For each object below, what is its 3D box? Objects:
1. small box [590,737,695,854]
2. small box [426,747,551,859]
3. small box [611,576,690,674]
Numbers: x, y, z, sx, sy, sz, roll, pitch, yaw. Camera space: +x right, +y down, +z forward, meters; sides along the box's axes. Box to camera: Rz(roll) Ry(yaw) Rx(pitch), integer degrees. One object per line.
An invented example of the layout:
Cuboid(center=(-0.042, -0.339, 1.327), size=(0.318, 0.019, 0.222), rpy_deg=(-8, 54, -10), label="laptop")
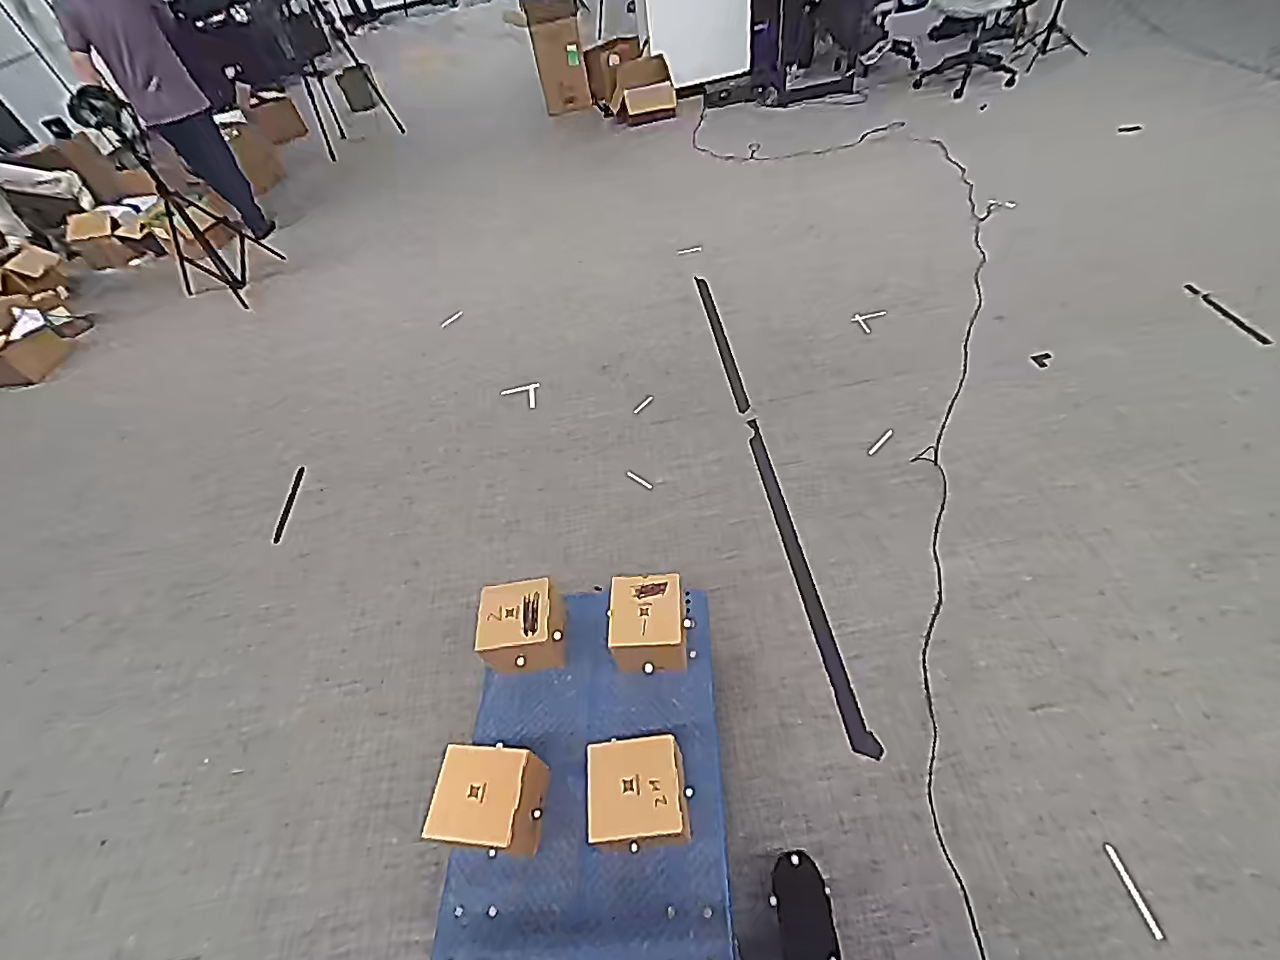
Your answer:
Cuboid(center=(0.006, 0.630, 1.073), size=(0.179, 0.176, 0.168), rpy_deg=(-9, 50, 4), label="small box")
Cuboid(center=(-0.299, 0.665, 1.109), size=(0.179, 0.176, 0.168), rpy_deg=(0, 50, 9), label="small box")
Cuboid(center=(0.030, 0.352, 1.302), size=(0.168, 0.176, 0.179), rpy_deg=(-5, 51, 8), label="small box")
